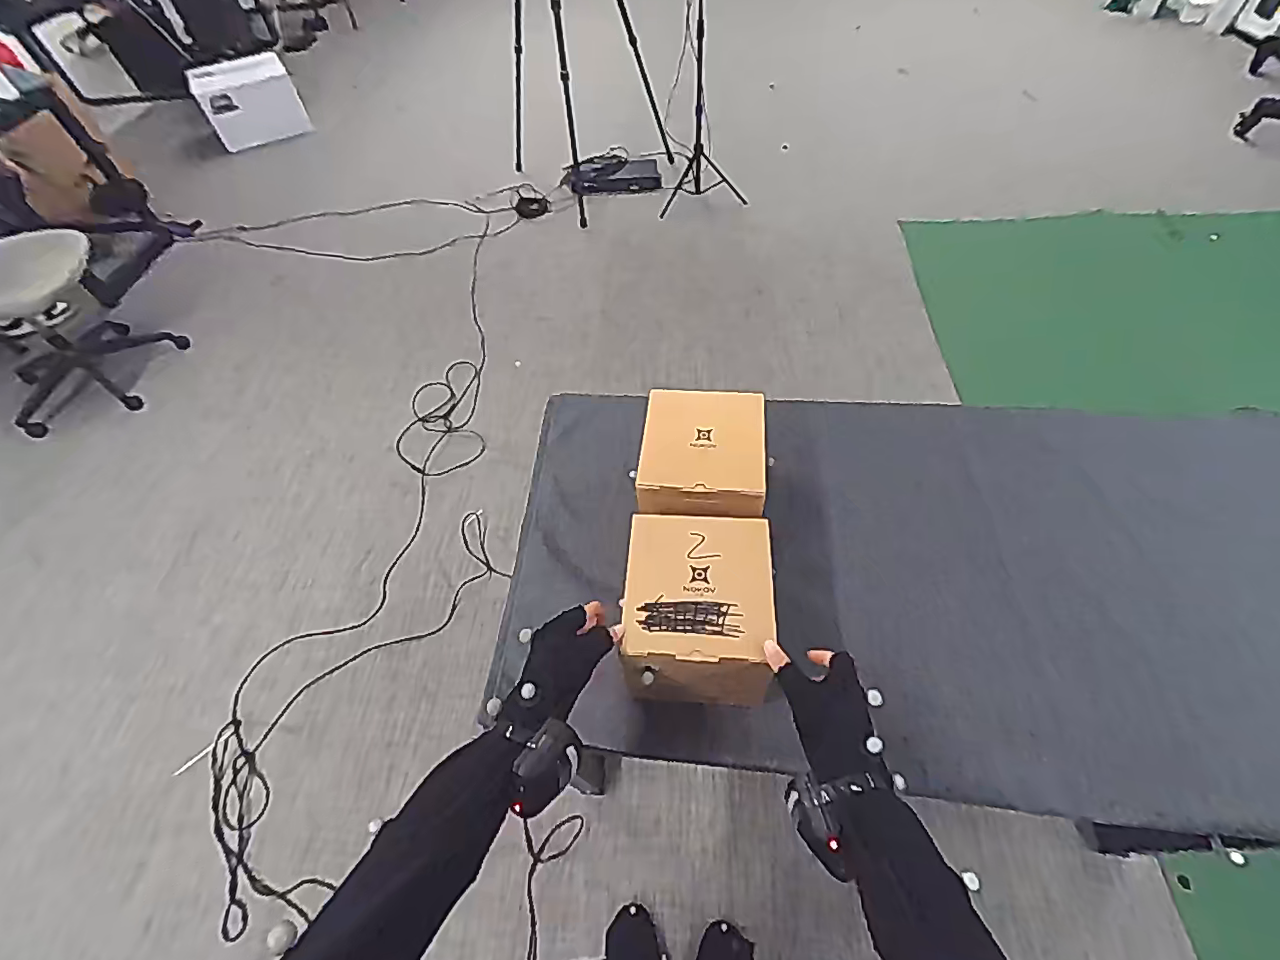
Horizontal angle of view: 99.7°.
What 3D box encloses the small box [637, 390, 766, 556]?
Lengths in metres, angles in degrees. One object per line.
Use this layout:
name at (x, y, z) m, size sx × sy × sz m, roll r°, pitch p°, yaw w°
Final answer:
small box at (0.090, -0.009, 0.795) m, size 0.168 × 0.176 × 0.179 m, roll 3°, pitch 55°, yaw 7°
